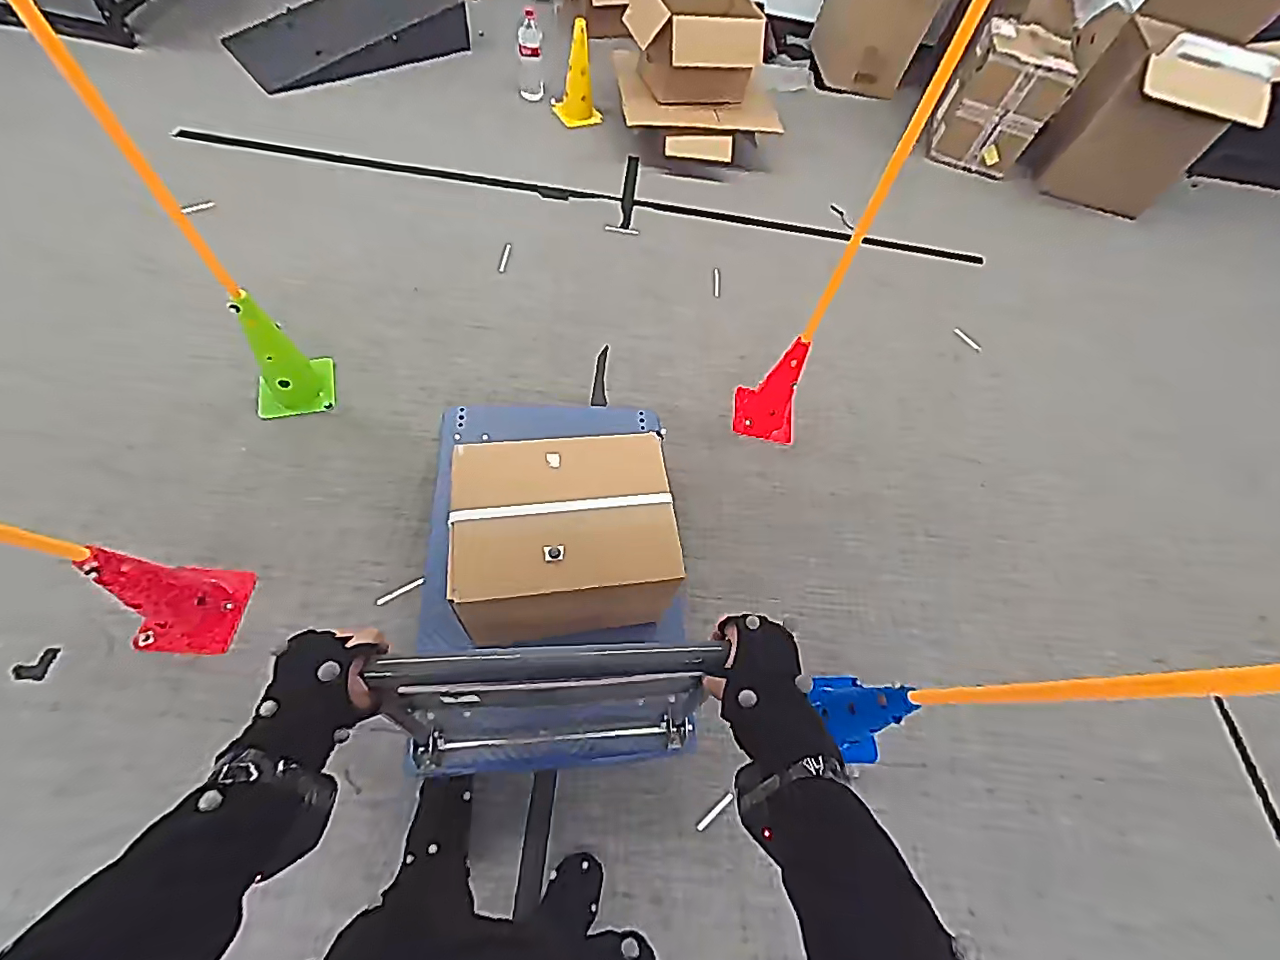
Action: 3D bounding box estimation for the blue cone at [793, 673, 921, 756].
[{"bbox_3d":[0.506,0.496,1.202,0.193,0.380,0.192,4,59,-7],"label":"blue cone"}]

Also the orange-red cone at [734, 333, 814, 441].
[{"bbox_3d":[0.437,-0.305,1.629,0.199,0.360,0.198,13,60,-3],"label":"orange-red cone"}]
